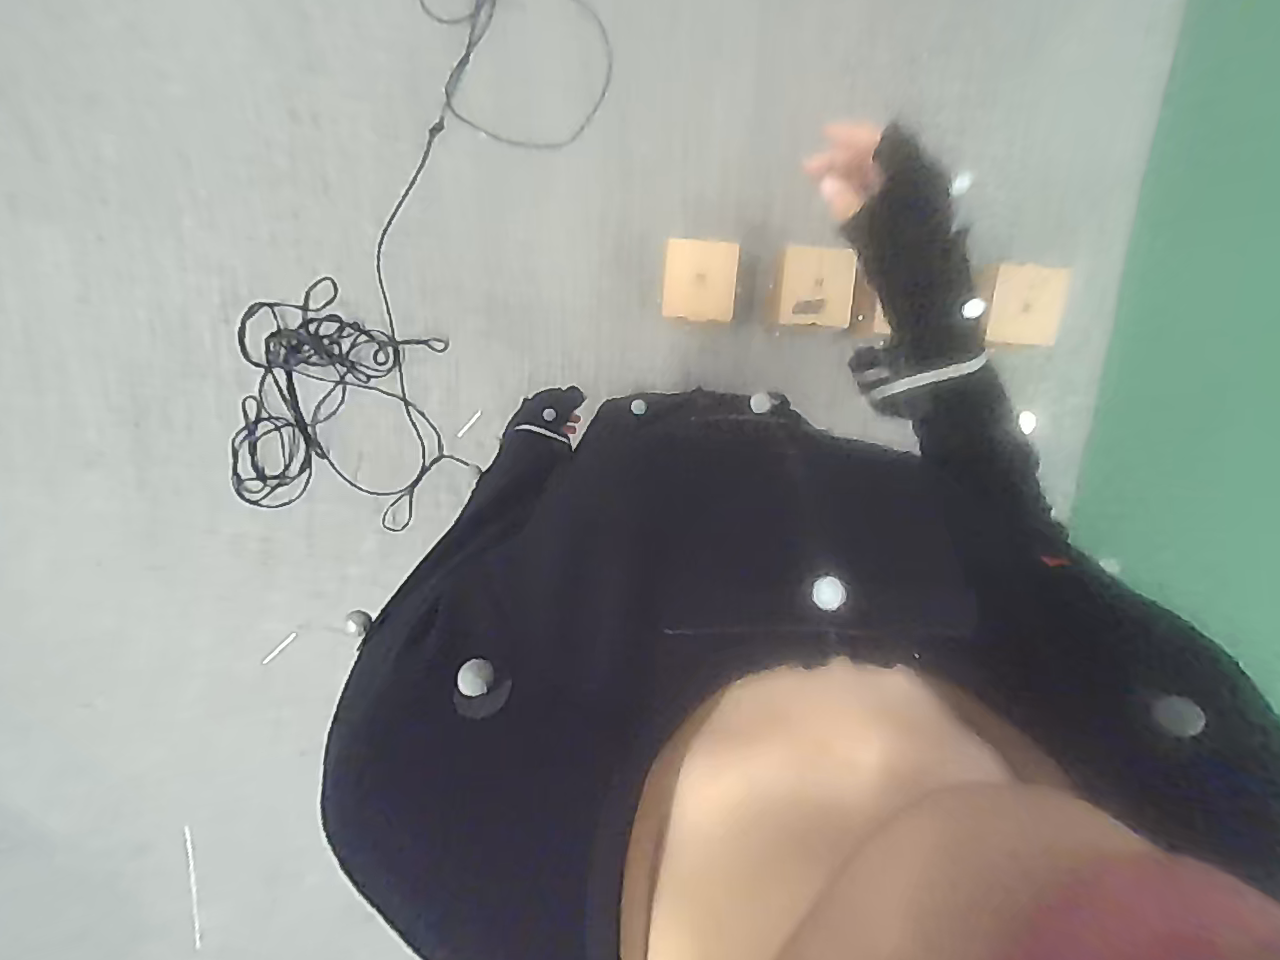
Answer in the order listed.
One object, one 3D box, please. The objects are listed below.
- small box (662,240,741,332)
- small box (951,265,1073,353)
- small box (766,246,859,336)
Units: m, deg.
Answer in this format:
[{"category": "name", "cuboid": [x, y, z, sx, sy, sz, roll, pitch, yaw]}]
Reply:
[{"category": "small box", "cuboid": [0.143, -0.465, 1.315, 0.168, 0.176, 0.179, 5, 99, 1]}, {"category": "small box", "cuboid": [0.888, -0.407, 1.309, 0.168, 0.176, 0.179, 5, 99, 0]}, {"category": "small box", "cuboid": [0.408, -0.449, 1.309, 0.168, 0.176, 0.179, 5, 98, 1]}]
